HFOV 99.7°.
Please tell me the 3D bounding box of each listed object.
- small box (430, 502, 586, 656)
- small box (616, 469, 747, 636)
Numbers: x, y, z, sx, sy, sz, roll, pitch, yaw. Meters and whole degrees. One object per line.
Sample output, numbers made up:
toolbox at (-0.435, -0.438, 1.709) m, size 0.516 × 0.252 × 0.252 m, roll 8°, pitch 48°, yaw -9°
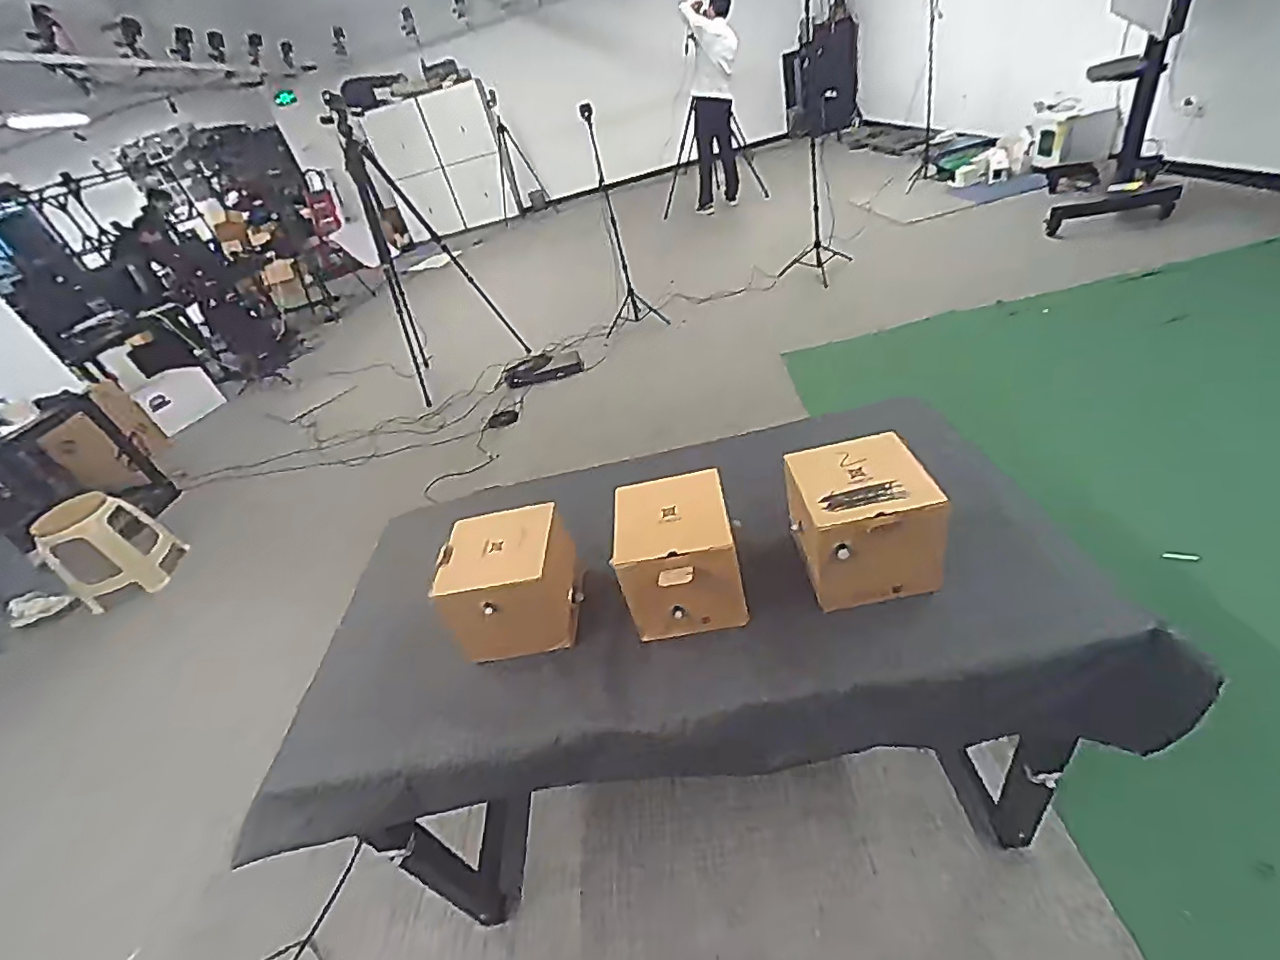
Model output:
small box at (-0.199, 0.162, 0.868) m, size 0.179 × 0.176 × 0.168 m, roll -10°, pitch 37°, yaw 7°
small box at (0.064, 0.111, 0.831) m, size 0.168 × 0.176 × 0.179 m, roll -11°, pitch 37°, yaw 7°
